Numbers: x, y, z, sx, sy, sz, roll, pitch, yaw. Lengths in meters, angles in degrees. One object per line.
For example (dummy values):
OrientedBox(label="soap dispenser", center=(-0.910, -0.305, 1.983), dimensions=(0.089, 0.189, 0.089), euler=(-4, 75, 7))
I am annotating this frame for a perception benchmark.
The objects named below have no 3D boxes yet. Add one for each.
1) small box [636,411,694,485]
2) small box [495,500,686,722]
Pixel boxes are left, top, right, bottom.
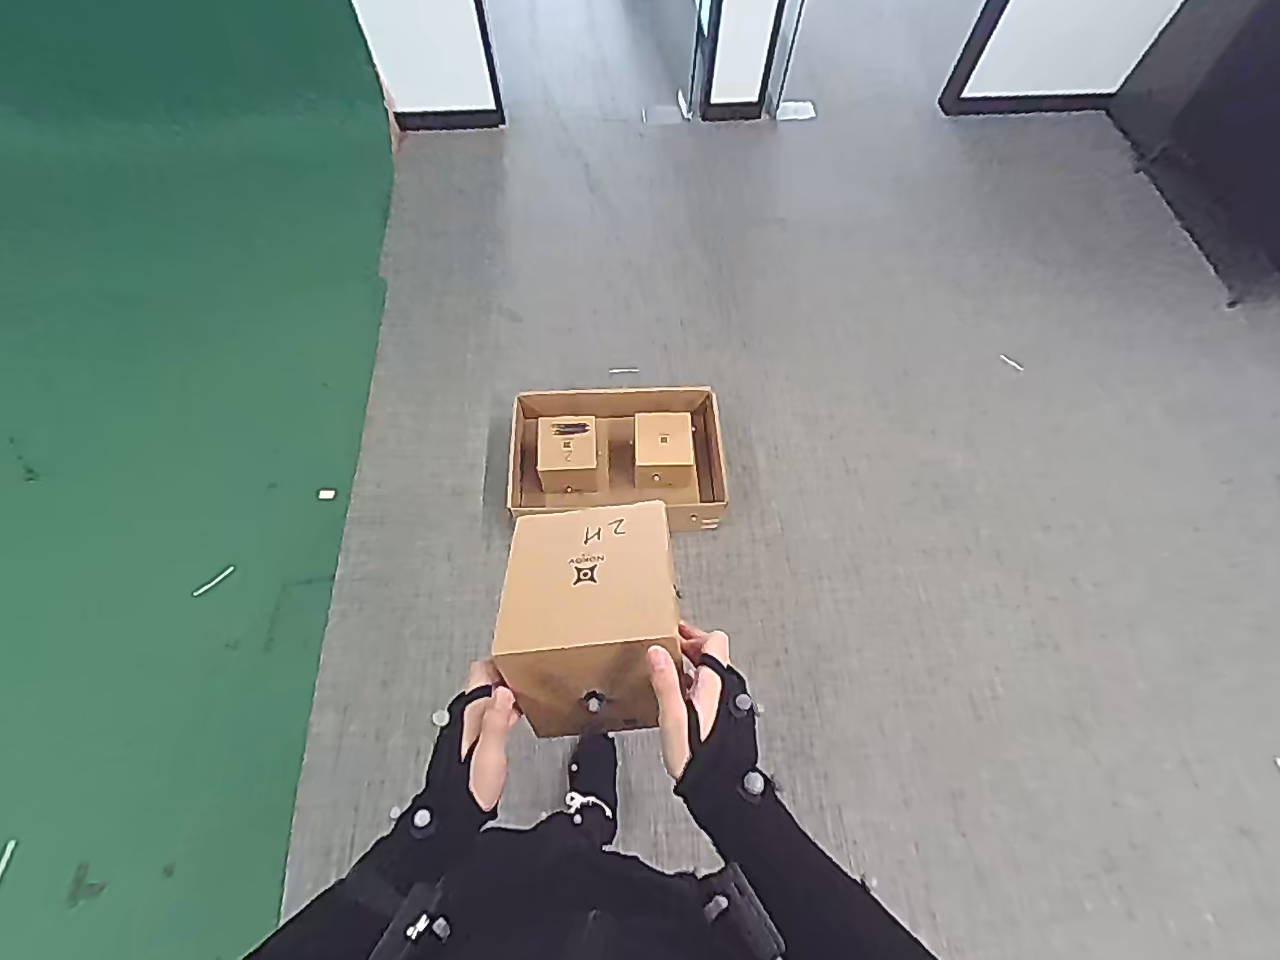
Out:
OrientedBox(label="small box", center=(0.073, -0.091, 1.626), dimensions=(0.168, 0.176, 0.179), euler=(-1, 64, -1))
OrientedBox(label="small box", center=(-0.041, 0.147, 0.589), dimensions=(0.168, 0.176, 0.179), euler=(-5, 40, 4))
